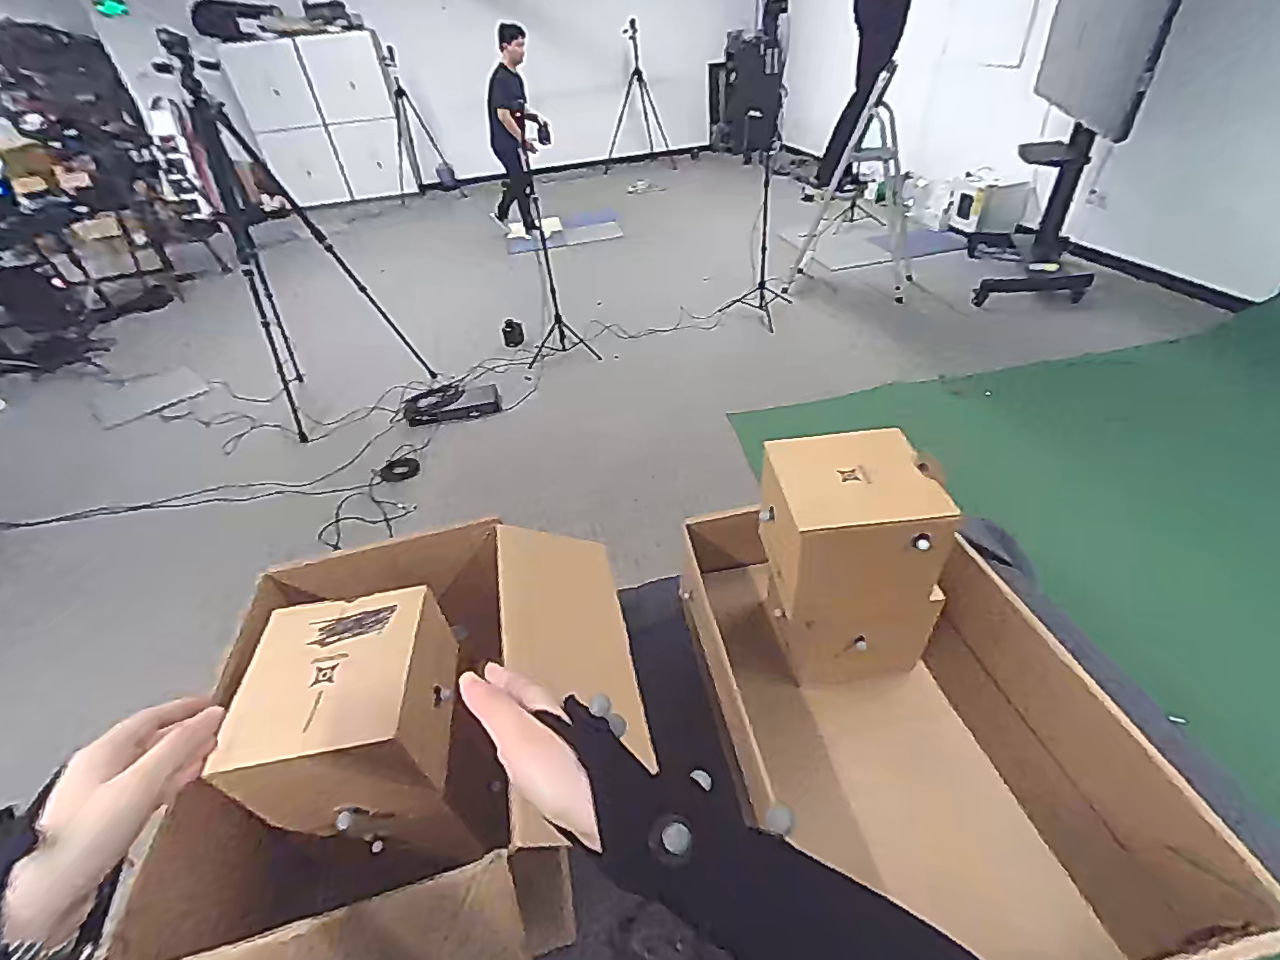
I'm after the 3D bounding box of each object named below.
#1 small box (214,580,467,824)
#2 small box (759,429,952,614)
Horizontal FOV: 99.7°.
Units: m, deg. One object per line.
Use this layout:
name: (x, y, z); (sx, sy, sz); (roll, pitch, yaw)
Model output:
small box: (-0.296, 0.238, 0.587); (0.168, 0.176, 0.179); (-9, 42, -3)
small box: (0.254, 0.055, 0.693); (0.179, 0.176, 0.168); (-5, 41, 0)
